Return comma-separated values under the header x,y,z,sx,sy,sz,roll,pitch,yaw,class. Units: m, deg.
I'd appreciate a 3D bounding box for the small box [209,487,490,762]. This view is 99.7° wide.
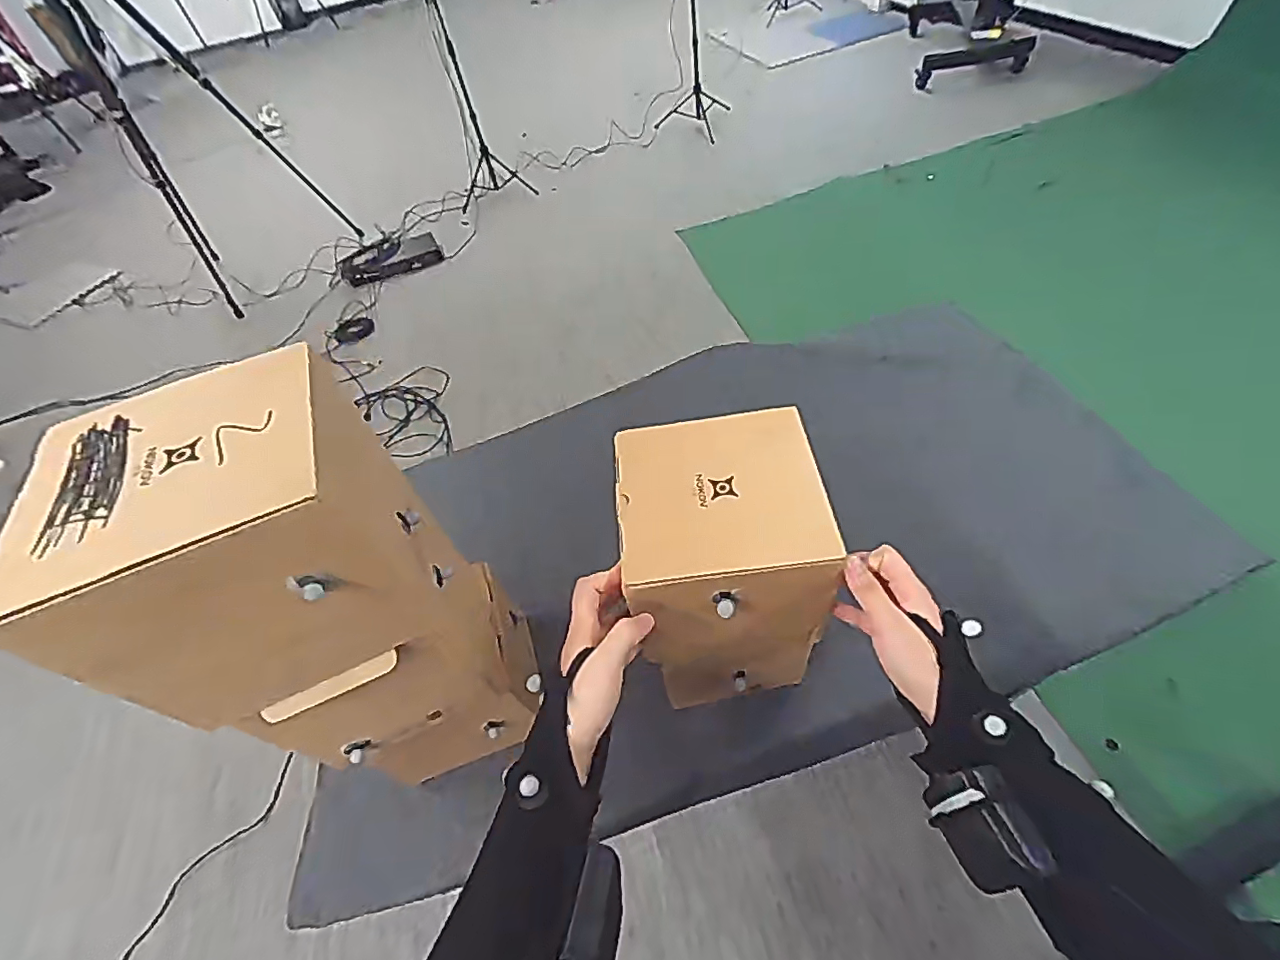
x,y,z,sx,sy,sz,roll,pitch,yaw,class
-0.262,0.145,0.519,0.168,0.176,0.179,-23,50,-9,small box

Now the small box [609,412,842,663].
x,y,z,sx,sy,sz,roll,pitch,yaw,class
0.073,0.062,0.521,0.179,0.176,0.168,-9,52,5,small box

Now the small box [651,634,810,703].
x,y,z,sx,sy,sz,roll,pitch,yaw,class
0.092,0.155,0.654,0.168,0.176,0.179,-13,52,1,small box

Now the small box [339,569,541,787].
x,y,z,sx,sy,sz,roll,pitch,yaw,class
-0.229,0.240,0.650,0.179,0.176,0.168,-21,51,-5,small box
